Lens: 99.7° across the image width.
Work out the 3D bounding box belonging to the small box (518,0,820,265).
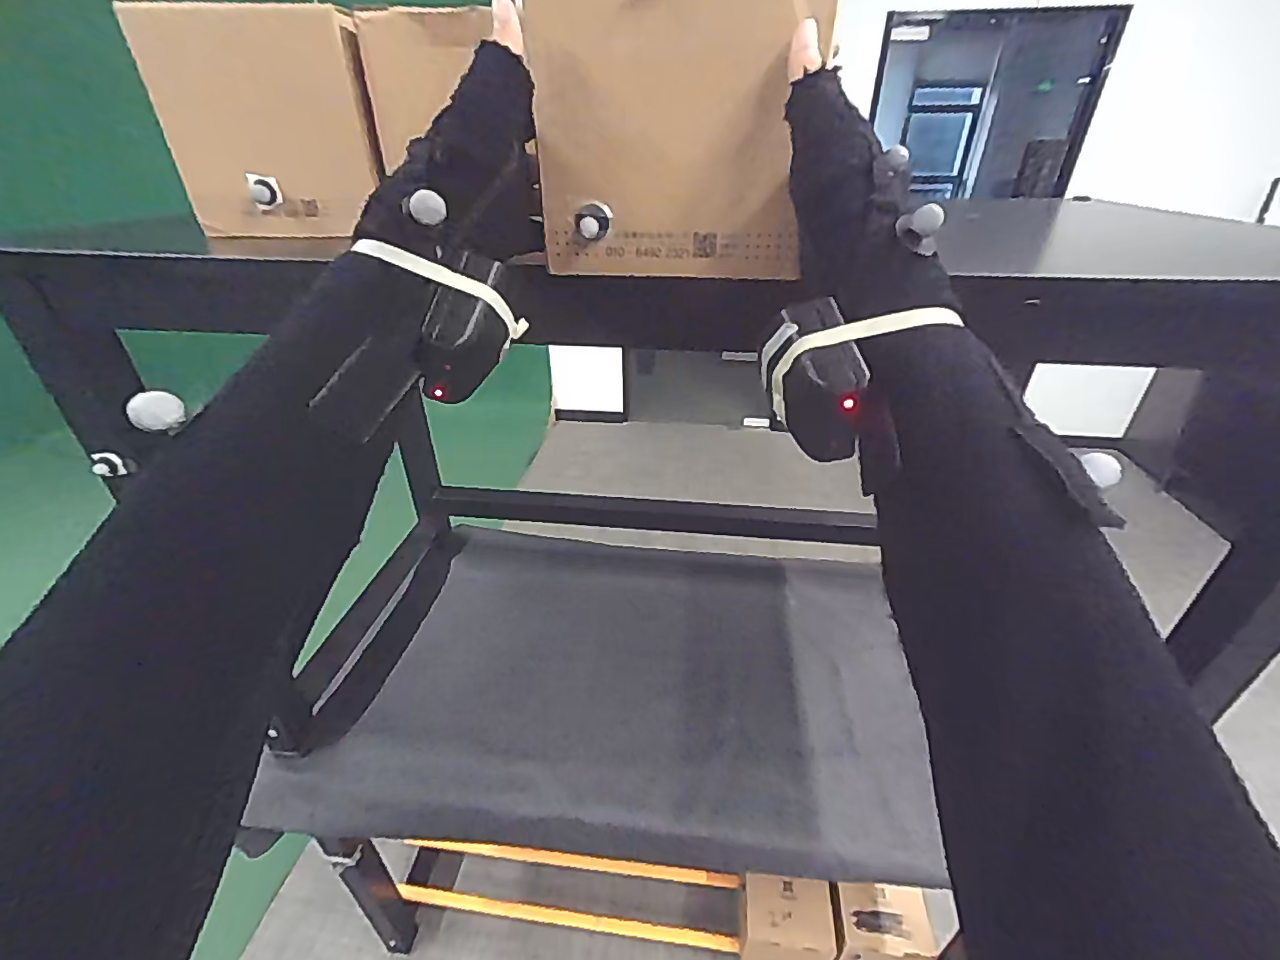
[{"bbox_3d":[0.028,-0.253,0.382,0.168,0.176,0.179,4,31,7],"label":"small box"}]
